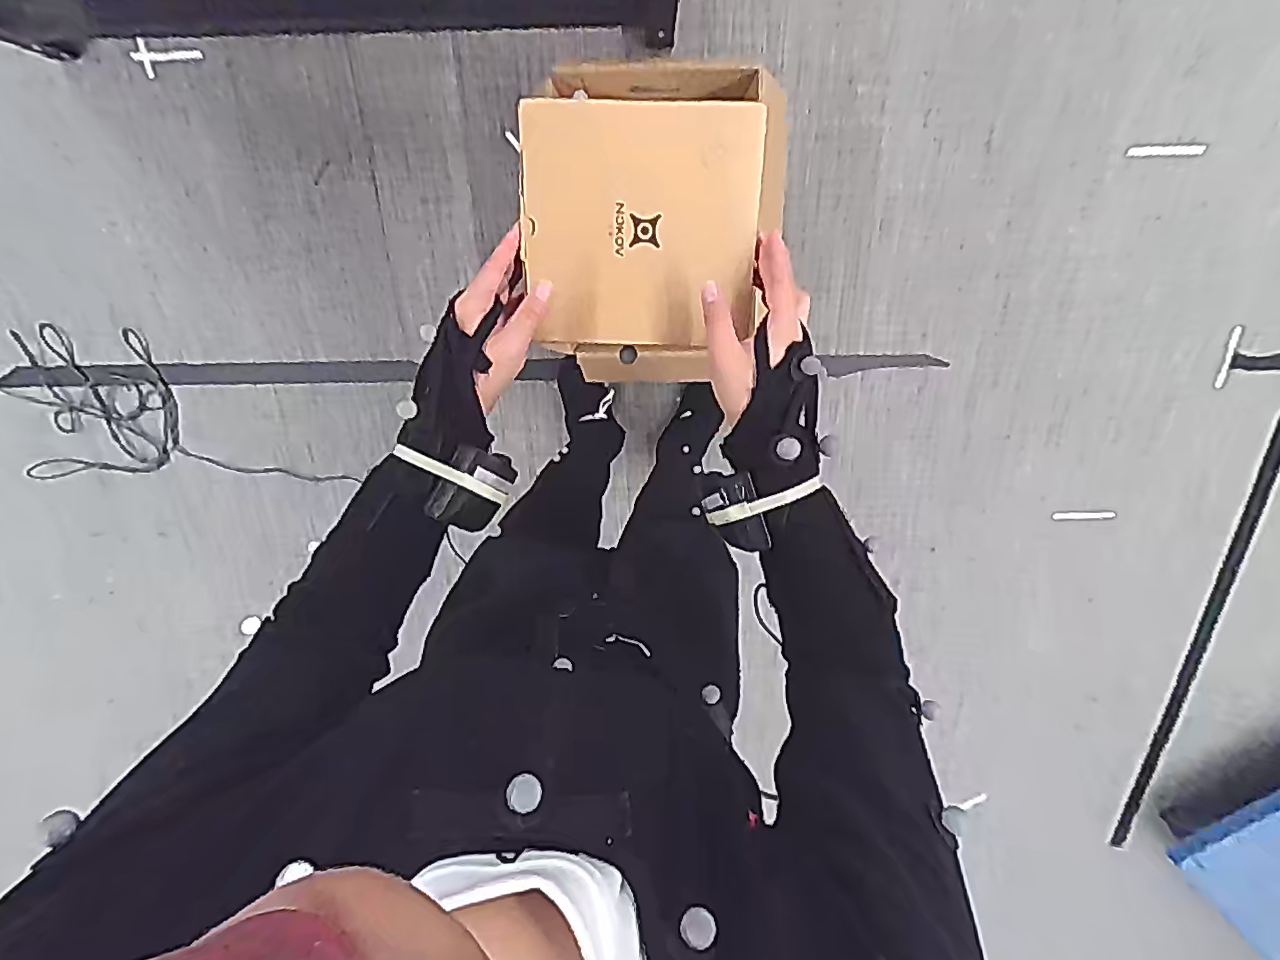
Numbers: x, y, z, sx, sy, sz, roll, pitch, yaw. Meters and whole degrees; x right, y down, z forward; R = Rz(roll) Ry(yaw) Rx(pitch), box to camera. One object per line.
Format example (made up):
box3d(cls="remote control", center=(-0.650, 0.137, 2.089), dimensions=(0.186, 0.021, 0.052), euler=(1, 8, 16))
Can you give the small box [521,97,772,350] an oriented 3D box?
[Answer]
box3d(cls="small box", center=(0.005, -0.207, 0.470), dimensions=(0.179, 0.176, 0.168), euler=(2, 108, 3))
